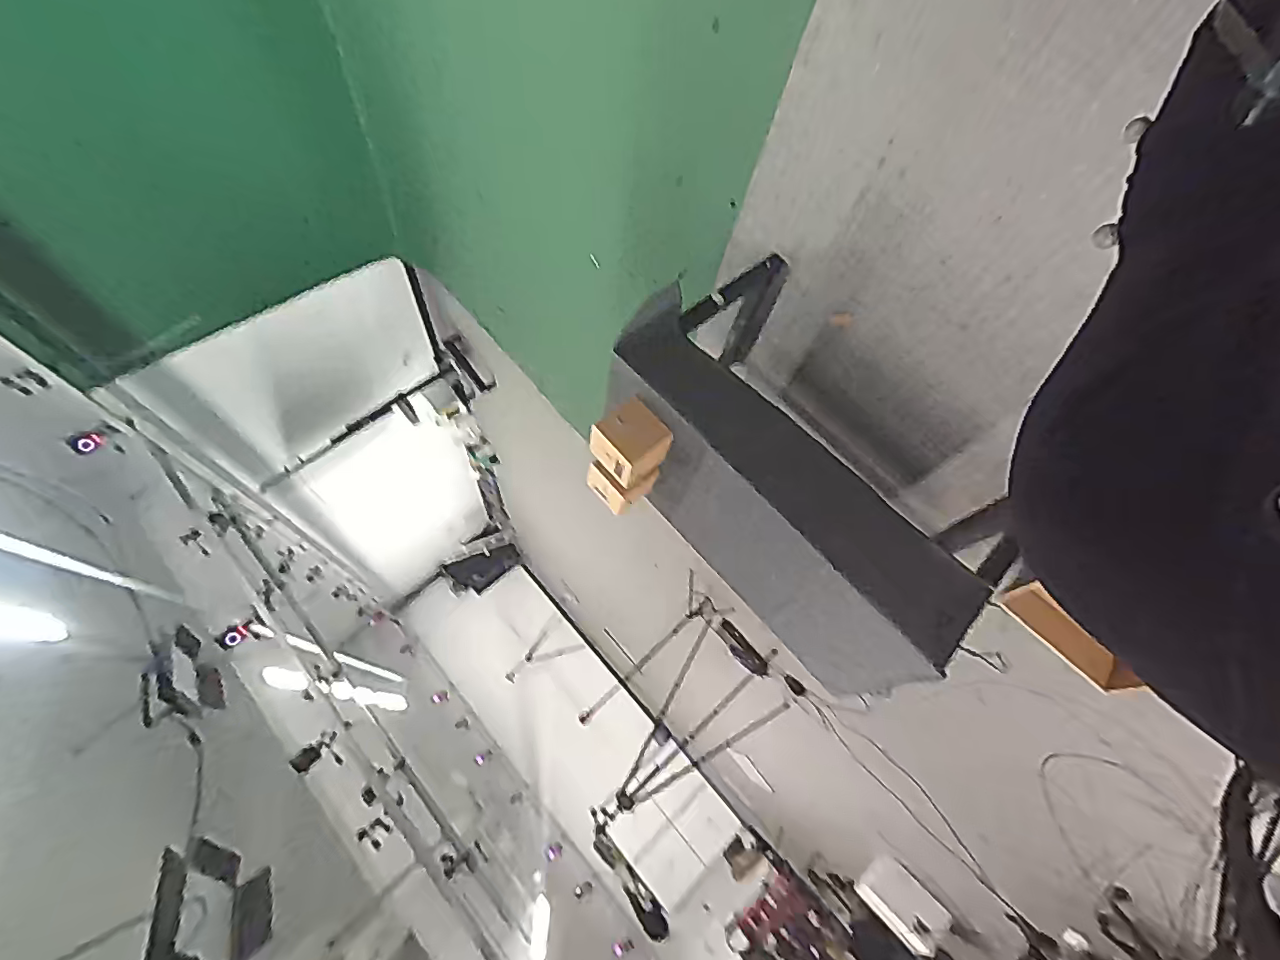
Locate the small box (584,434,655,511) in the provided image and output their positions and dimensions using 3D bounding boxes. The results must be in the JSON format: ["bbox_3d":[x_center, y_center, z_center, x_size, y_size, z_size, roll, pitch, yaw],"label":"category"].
[{"bbox_3d":[-0.070,-0.025,1.854,0.168,0.176,0.179,47,156,10],"label":"small box"}]
